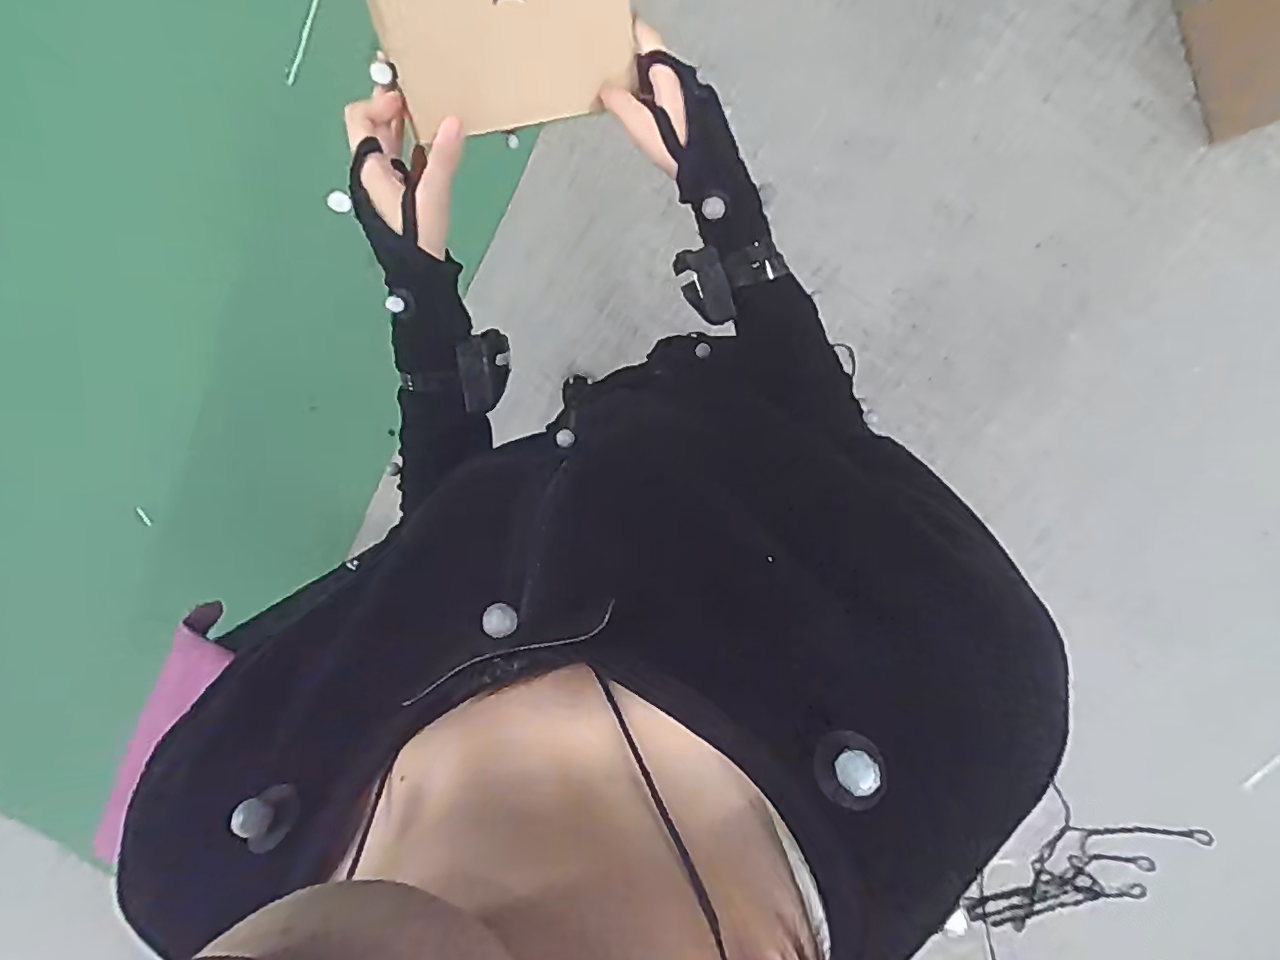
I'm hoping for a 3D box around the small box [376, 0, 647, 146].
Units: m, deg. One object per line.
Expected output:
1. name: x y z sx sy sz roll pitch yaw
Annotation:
1. small box: -0.108 -0.364 0.405 0.168 0.176 0.179 -19 124 -14
